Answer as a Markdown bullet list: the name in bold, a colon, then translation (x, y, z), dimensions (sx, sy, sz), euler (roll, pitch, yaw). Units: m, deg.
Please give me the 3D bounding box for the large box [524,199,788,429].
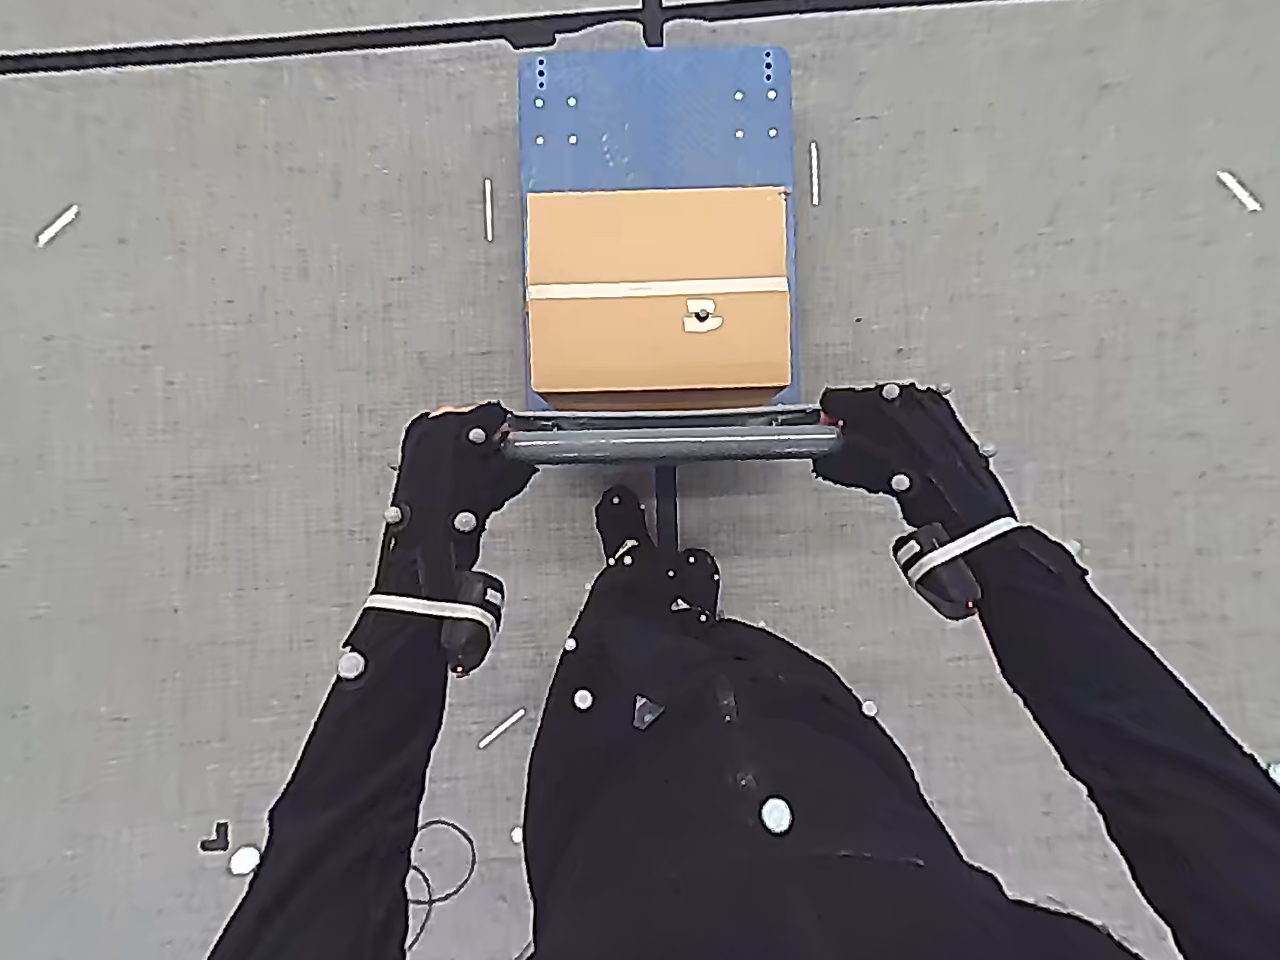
- **large box**: translation (0.023, -0.271, 0.982), dimensions (0.408, 0.320, 0.320), euler (-2, 90, 0)
